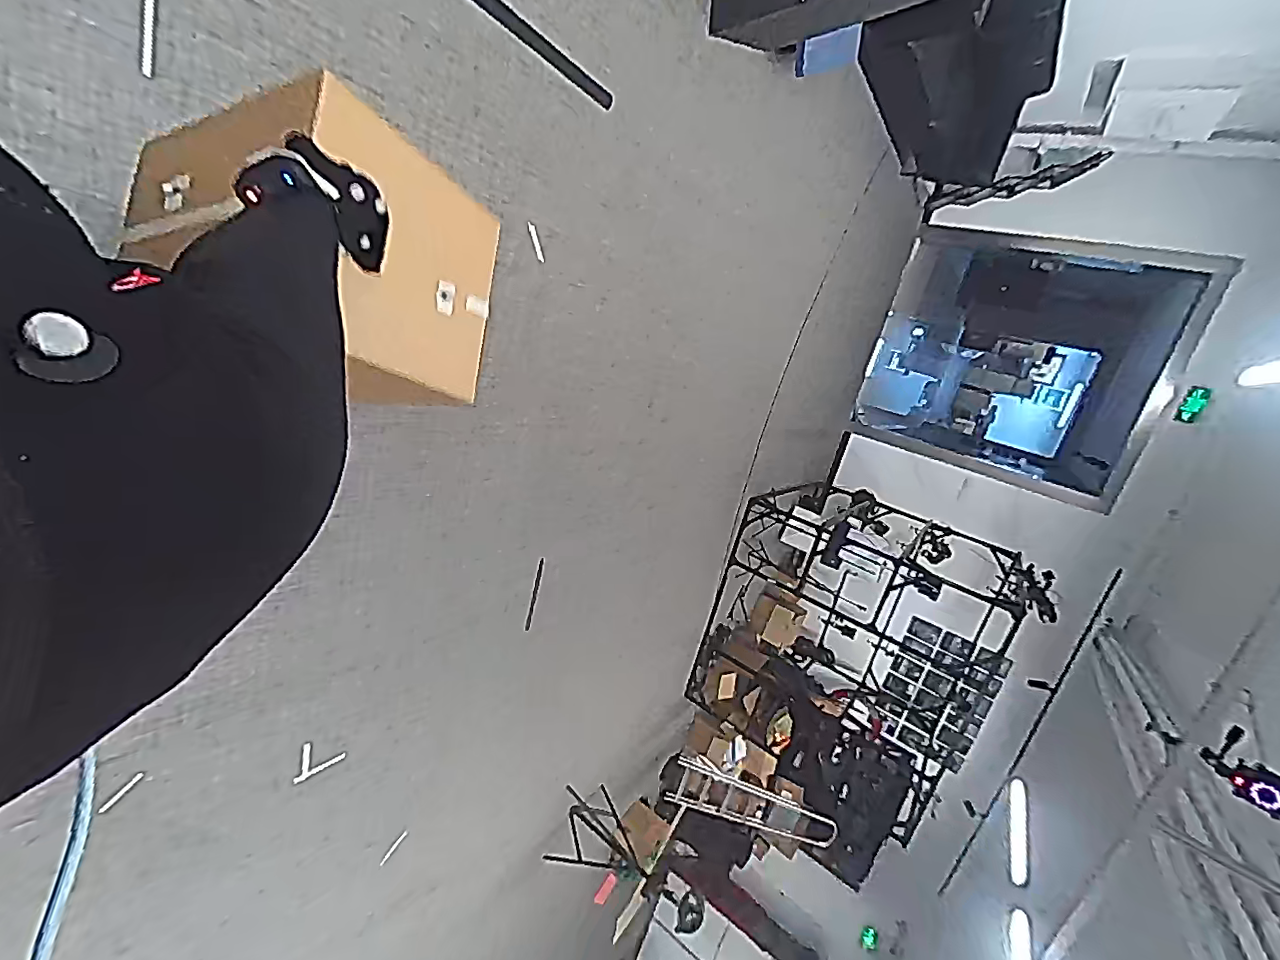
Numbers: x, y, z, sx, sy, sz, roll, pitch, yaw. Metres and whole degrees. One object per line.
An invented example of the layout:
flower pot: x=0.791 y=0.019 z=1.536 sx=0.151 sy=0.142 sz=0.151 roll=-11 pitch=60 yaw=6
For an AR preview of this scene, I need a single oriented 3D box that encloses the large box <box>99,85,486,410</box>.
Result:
large box: x=-0.502 y=-0.295 z=0.825 sx=0.320 sy=0.408 sz=0.320 roll=23 pitch=72 yaw=-63
